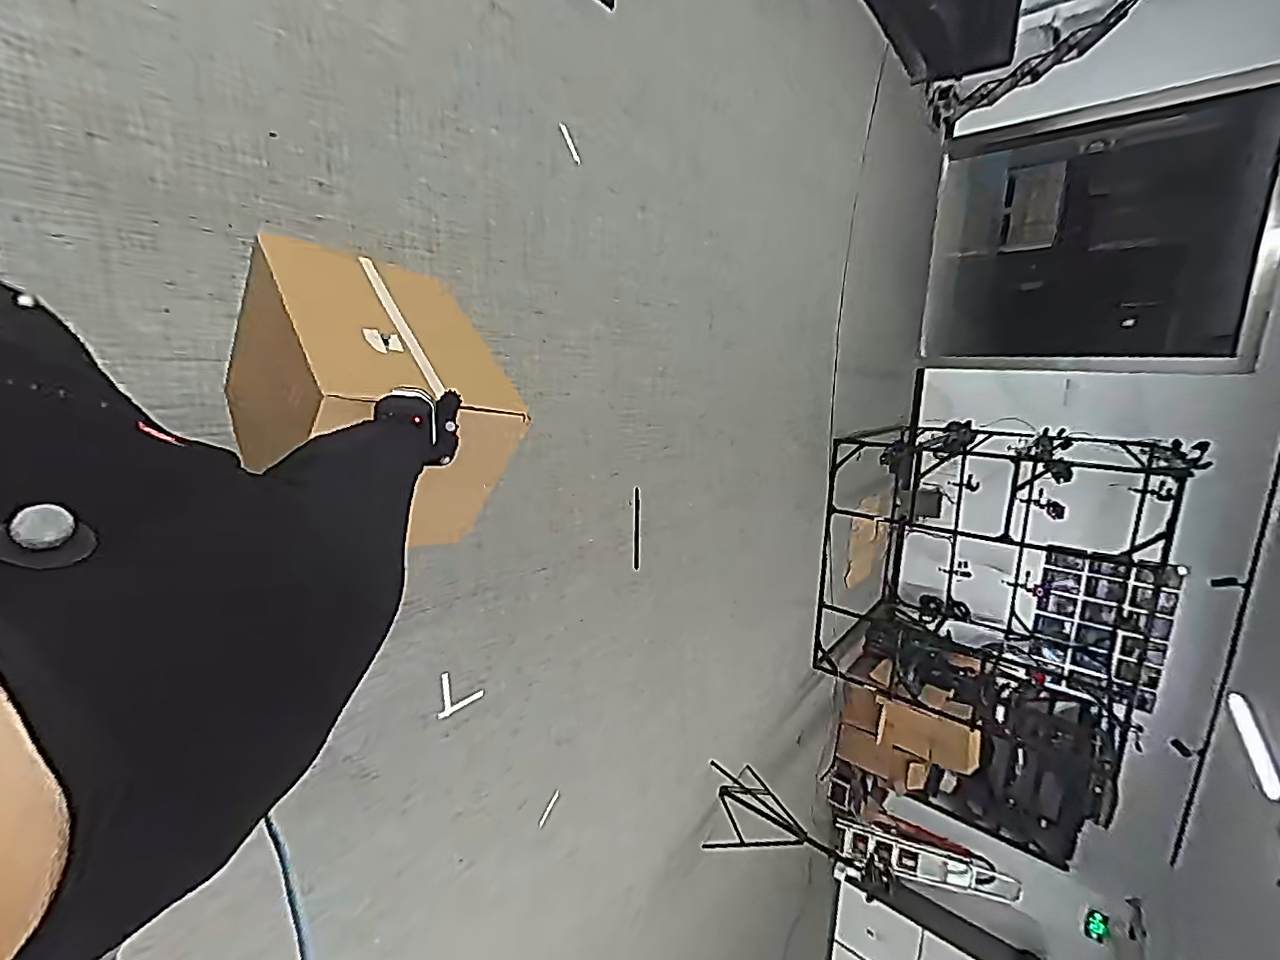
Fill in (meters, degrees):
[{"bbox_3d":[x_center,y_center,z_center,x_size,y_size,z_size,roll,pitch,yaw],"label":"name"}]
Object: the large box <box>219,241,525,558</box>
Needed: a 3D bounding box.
[{"bbox_3d":[-0.475,-0.127,0.934,0.320,0.408,0.320,-1,136,-49],"label":"large box"}]
